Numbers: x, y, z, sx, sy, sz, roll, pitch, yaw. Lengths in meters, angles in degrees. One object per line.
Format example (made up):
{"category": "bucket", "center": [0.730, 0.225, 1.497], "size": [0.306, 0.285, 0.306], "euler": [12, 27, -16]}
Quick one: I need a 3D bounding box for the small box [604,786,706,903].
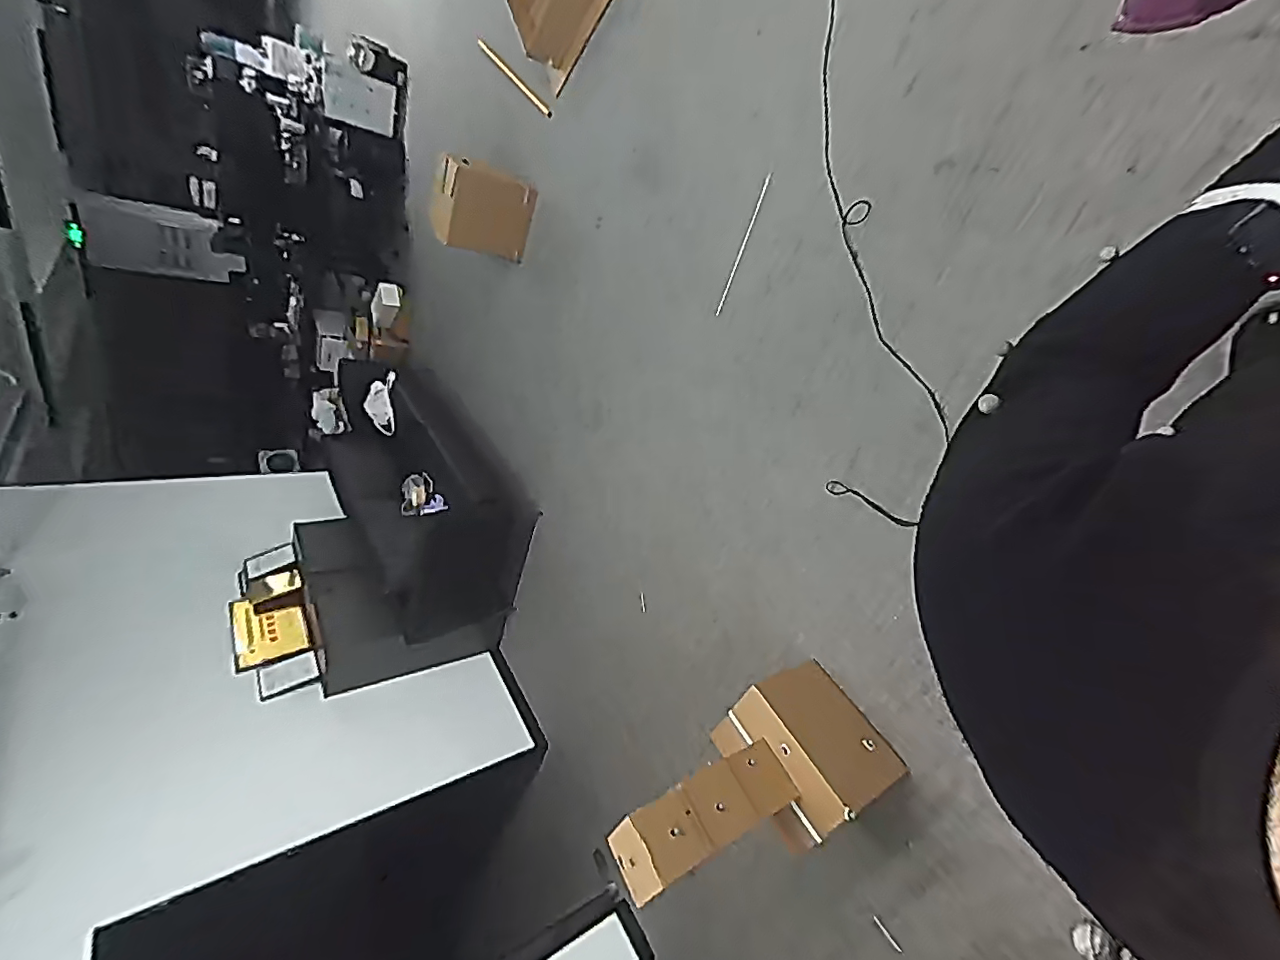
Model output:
{"category": "small box", "center": [0.041, 0.908, 1.358], "size": [0.168, 0.176, 0.179], "euler": [55, 134, 33]}

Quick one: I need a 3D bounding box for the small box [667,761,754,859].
{"category": "small box", "center": [0.170, 0.890, 1.457], "size": [0.179, 0.176, 0.168], "euler": [55, 135, 32]}

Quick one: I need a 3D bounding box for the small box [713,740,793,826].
{"category": "small box", "center": [0.300, 0.880, 1.558], "size": [0.179, 0.176, 0.168], "euler": [54, 134, 33]}
